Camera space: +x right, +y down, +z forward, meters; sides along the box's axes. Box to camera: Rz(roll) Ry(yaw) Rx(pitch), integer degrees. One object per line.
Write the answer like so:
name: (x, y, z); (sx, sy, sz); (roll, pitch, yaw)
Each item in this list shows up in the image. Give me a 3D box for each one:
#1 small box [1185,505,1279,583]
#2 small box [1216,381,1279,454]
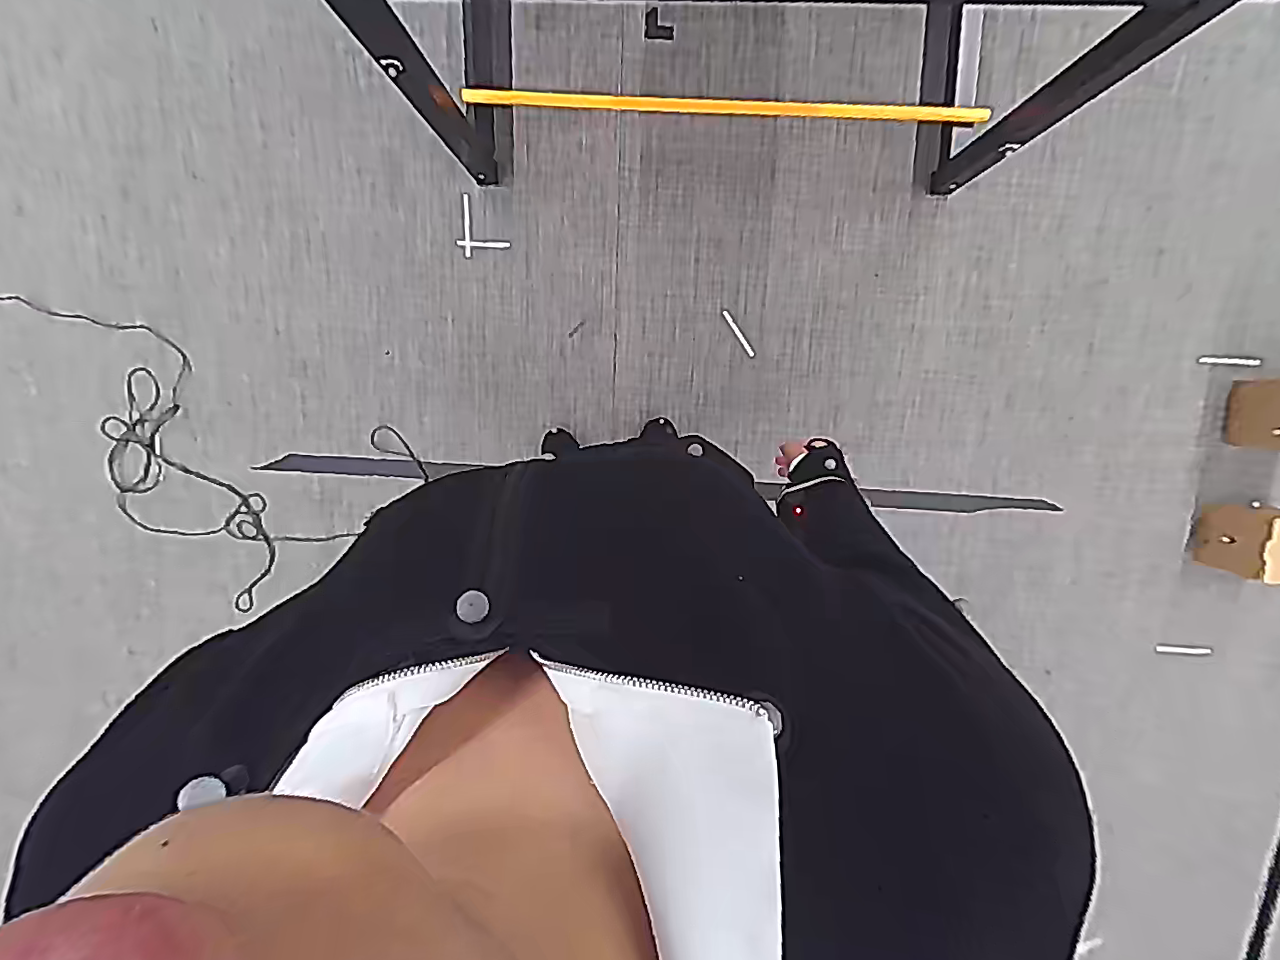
small box: (1.599, 0.163, 1.413); (0.179, 0.176, 0.168); (4, 100, 1)
small box: (1.619, -0.158, 1.356); (0.168, 0.176, 0.179); (1, 99, 1)
